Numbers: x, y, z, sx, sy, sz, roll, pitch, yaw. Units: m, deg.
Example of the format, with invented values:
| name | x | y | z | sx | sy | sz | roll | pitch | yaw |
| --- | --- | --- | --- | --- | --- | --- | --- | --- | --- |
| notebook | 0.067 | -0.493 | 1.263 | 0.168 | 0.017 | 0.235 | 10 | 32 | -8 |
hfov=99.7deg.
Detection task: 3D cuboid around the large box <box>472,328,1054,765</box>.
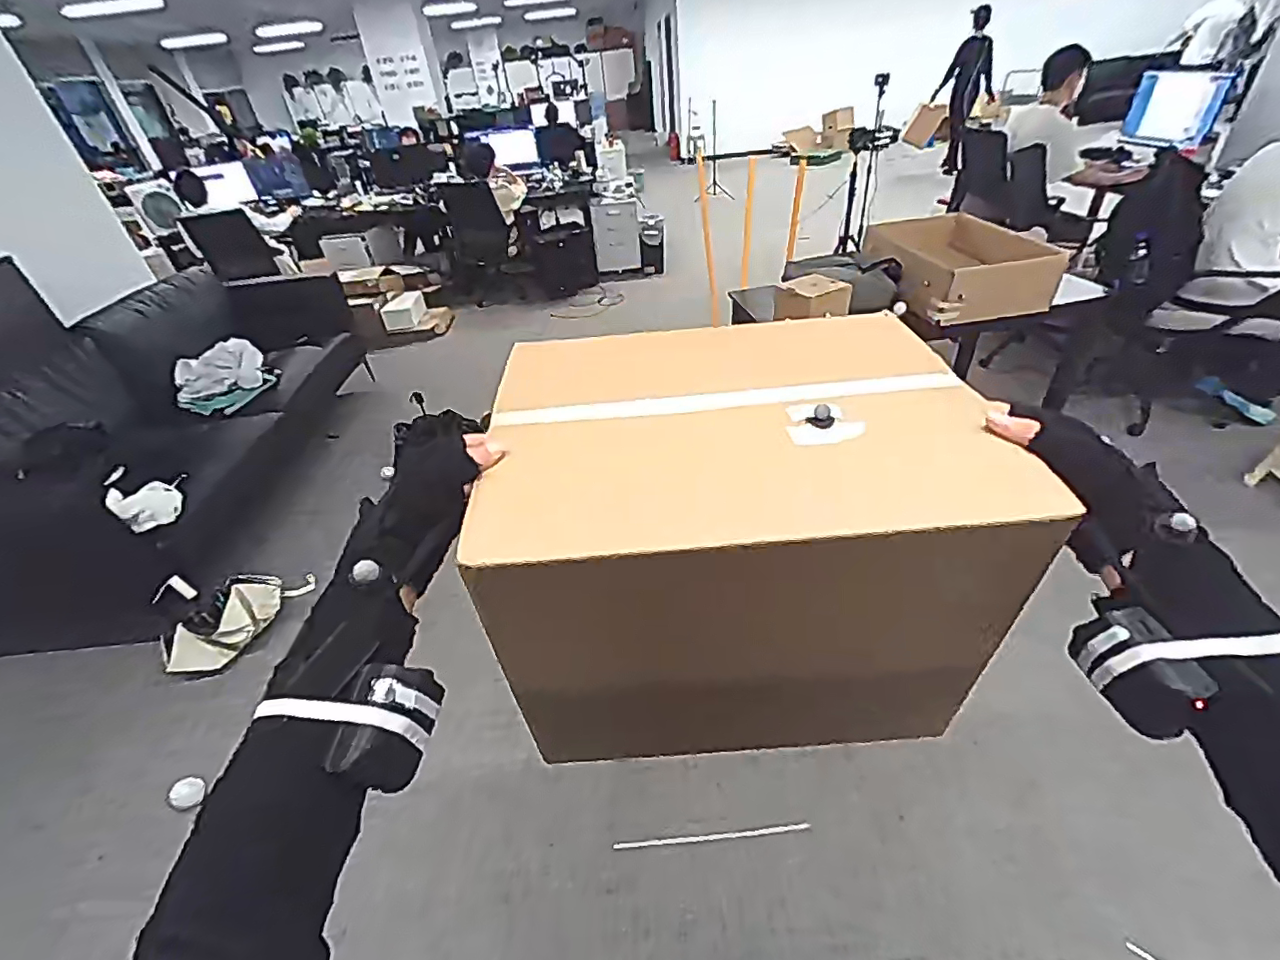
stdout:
| name | x | y | z | sx | sy | sz | roll | pitch | yaw |
| --- | --- | --- | --- | --- | --- | --- | --- | --- | --- |
| large box | 0.083 | 0.063 | 0.567 | 0.408 | 0.320 | 0.320 | -5 | 41 | 0 |
